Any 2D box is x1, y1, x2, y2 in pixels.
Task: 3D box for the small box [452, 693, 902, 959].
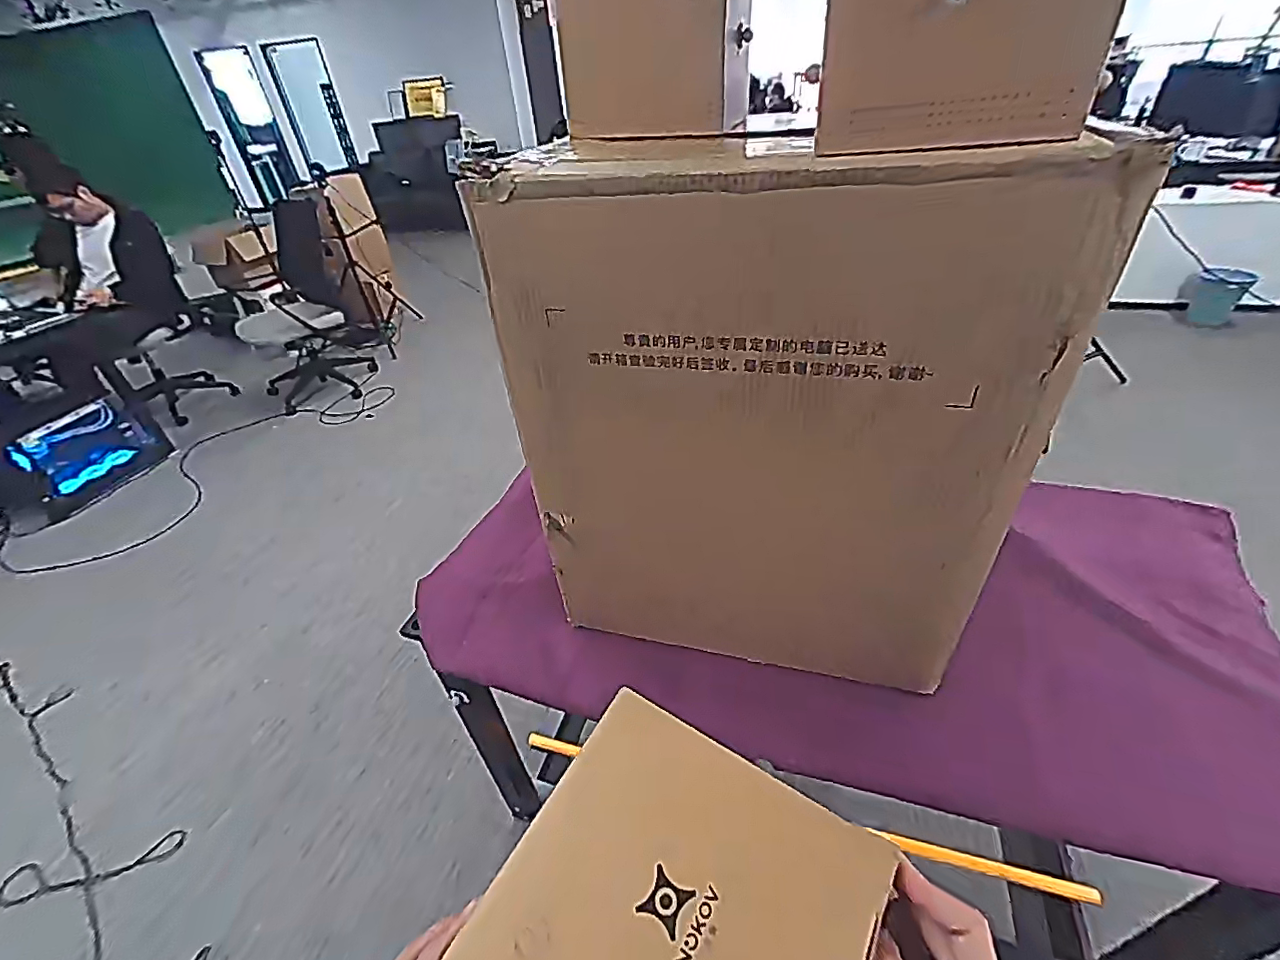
[{"bbox_3d":[0.028,0.273,0.327,0.179,0.176,0.168,21,52,26],"label":"small box"}]
